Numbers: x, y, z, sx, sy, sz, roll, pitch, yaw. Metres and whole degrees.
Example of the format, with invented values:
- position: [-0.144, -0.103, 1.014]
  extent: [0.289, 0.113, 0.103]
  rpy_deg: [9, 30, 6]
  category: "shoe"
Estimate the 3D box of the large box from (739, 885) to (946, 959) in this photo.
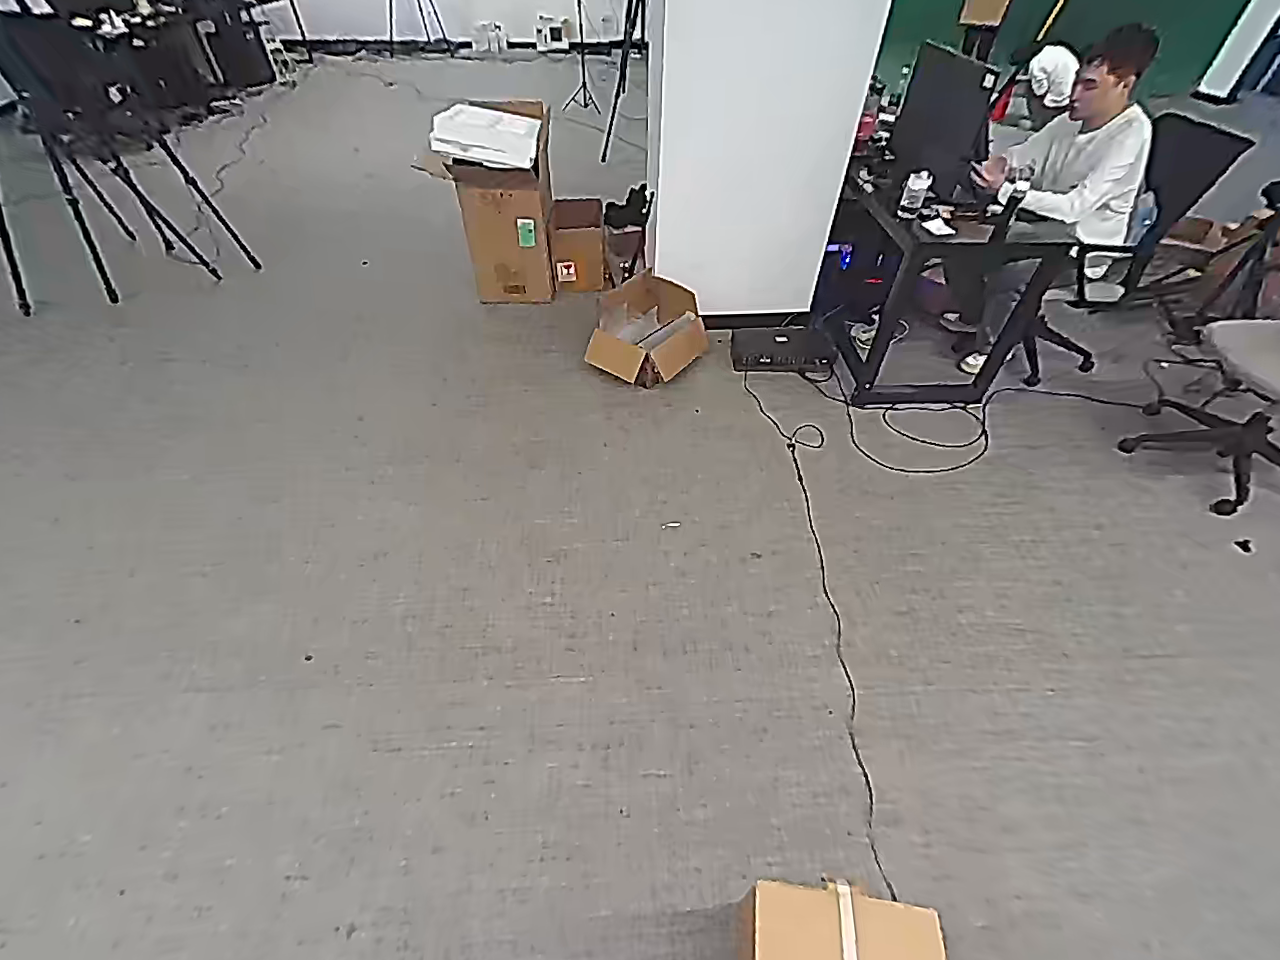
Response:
- position: [0.343, 0.990, 0.940]
  extent: [0.320, 0.320, 0.408]
  rpy_deg: [6, 47, 8]
  category: "large box"
